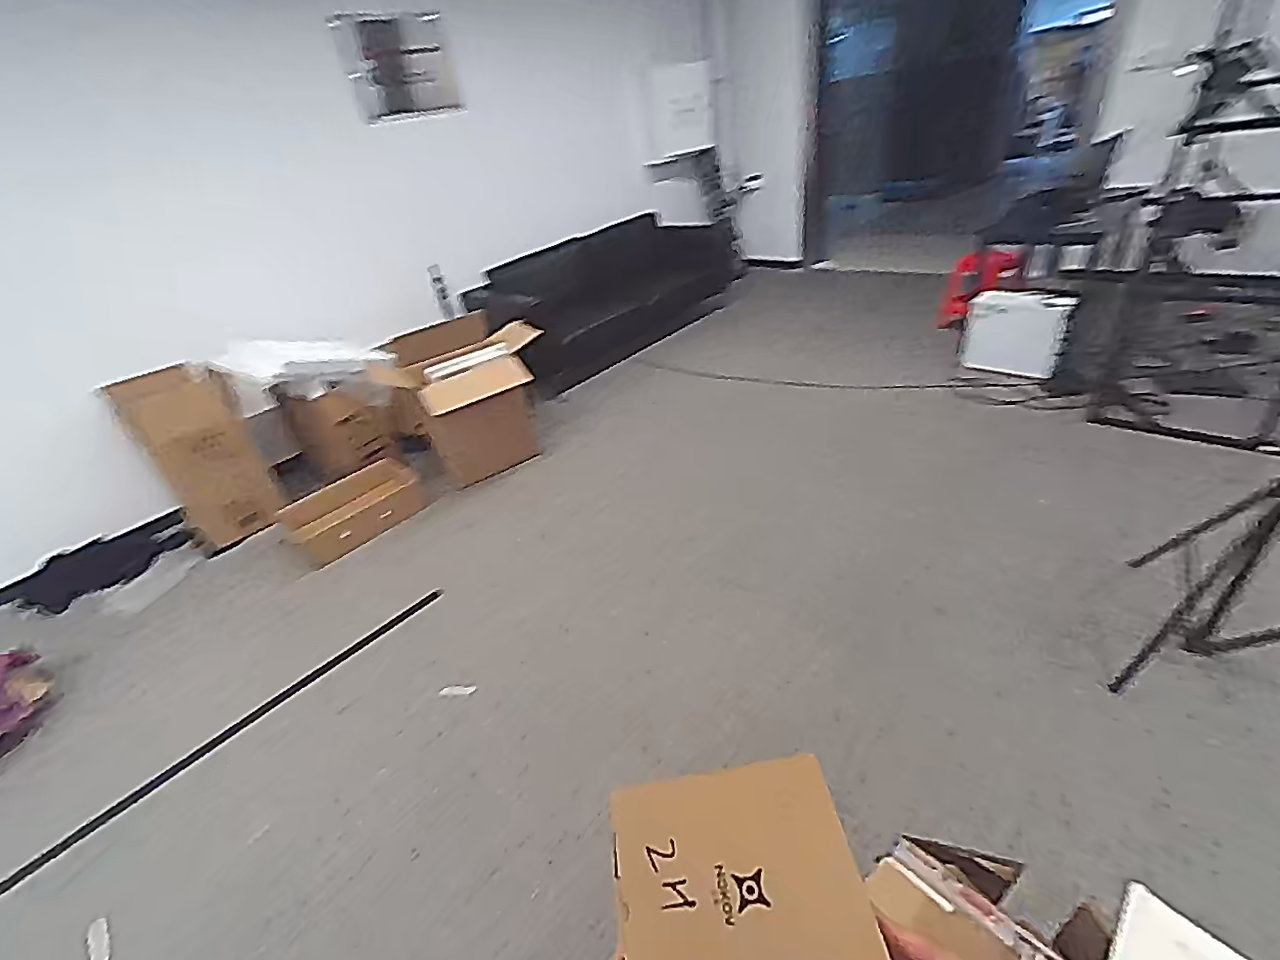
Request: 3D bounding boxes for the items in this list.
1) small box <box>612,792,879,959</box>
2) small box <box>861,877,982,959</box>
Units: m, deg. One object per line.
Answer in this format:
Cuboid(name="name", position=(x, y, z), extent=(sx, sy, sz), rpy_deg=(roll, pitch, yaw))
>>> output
Cuboid(name="small box", position=(0.081, 0.382, 0.432), extent=(0.179, 0.176, 0.168), rpy_deg=(-11, 39, -1))
Cuboid(name="small box", position=(0.353, 0.682, 0.701), extent=(0.168, 0.176, 0.179), rpy_deg=(-31, 38, -26))
